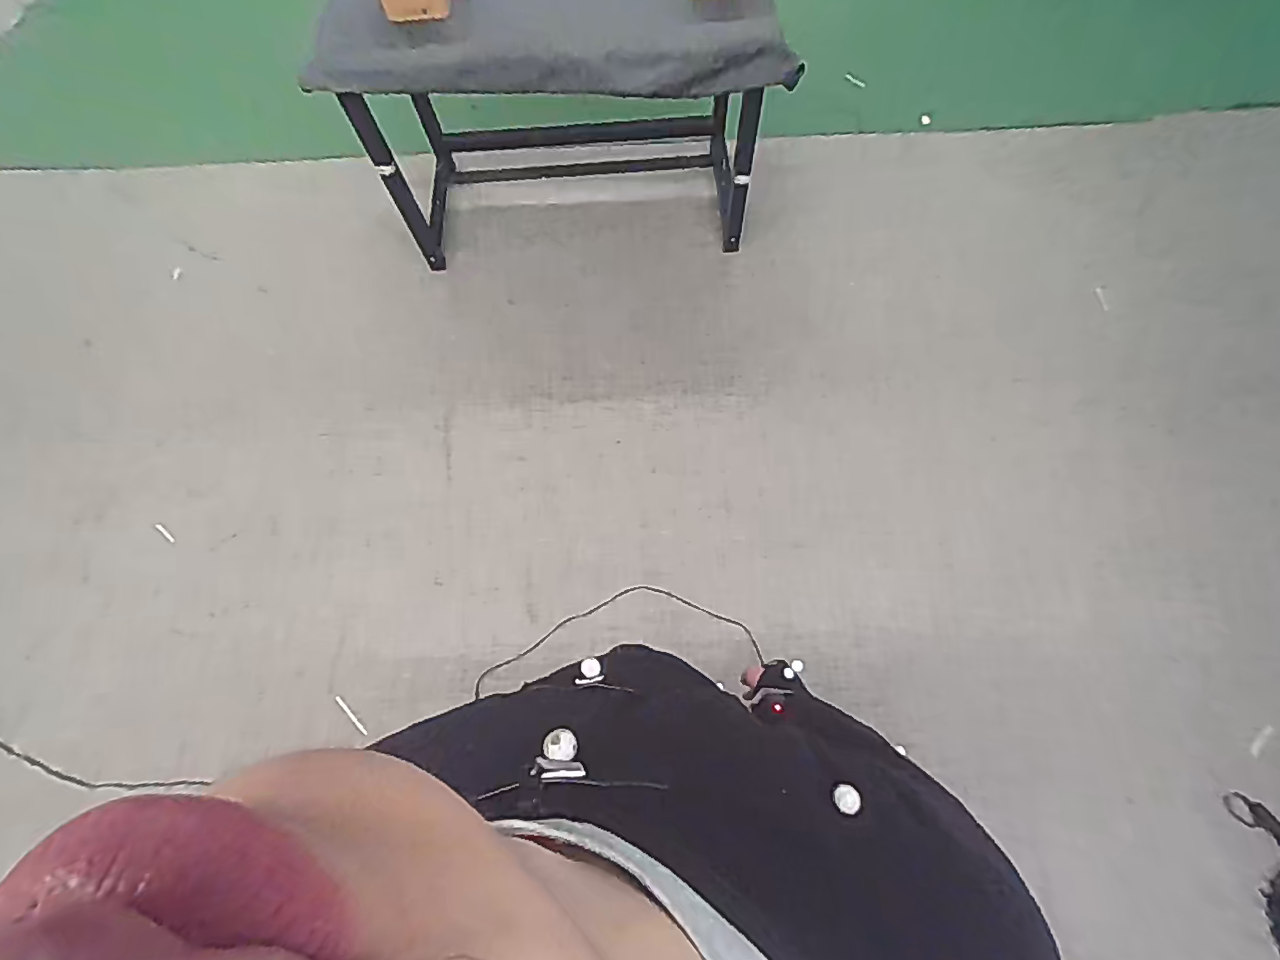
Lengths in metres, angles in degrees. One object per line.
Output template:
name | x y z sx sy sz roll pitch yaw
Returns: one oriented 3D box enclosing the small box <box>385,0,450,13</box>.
small box | -0.602 -1.363 1.412 0.168 0.176 0.179 -4 69 0
